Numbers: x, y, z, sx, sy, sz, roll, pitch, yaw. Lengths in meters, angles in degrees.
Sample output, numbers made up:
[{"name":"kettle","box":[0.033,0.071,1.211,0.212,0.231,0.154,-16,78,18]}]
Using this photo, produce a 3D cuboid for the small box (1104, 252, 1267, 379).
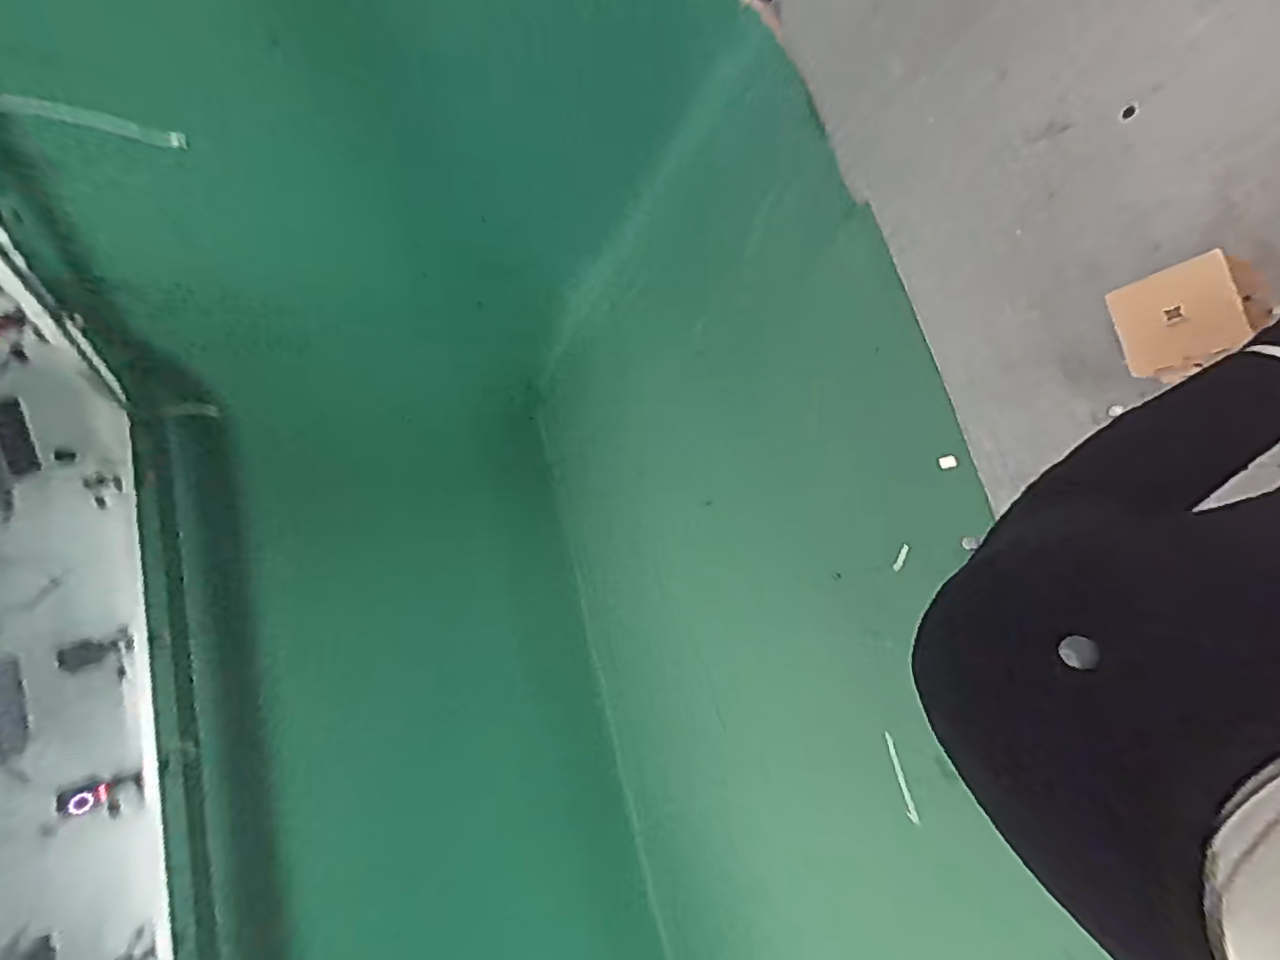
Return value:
[{"name":"small box","box":[1.033,-0.301,1.028,0.168,0.176,0.179,-22,78,57]}]

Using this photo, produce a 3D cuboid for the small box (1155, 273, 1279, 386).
[{"name":"small box","box":[1.184,-0.307,1.124,0.168,0.176,0.179,-22,77,56]}]
